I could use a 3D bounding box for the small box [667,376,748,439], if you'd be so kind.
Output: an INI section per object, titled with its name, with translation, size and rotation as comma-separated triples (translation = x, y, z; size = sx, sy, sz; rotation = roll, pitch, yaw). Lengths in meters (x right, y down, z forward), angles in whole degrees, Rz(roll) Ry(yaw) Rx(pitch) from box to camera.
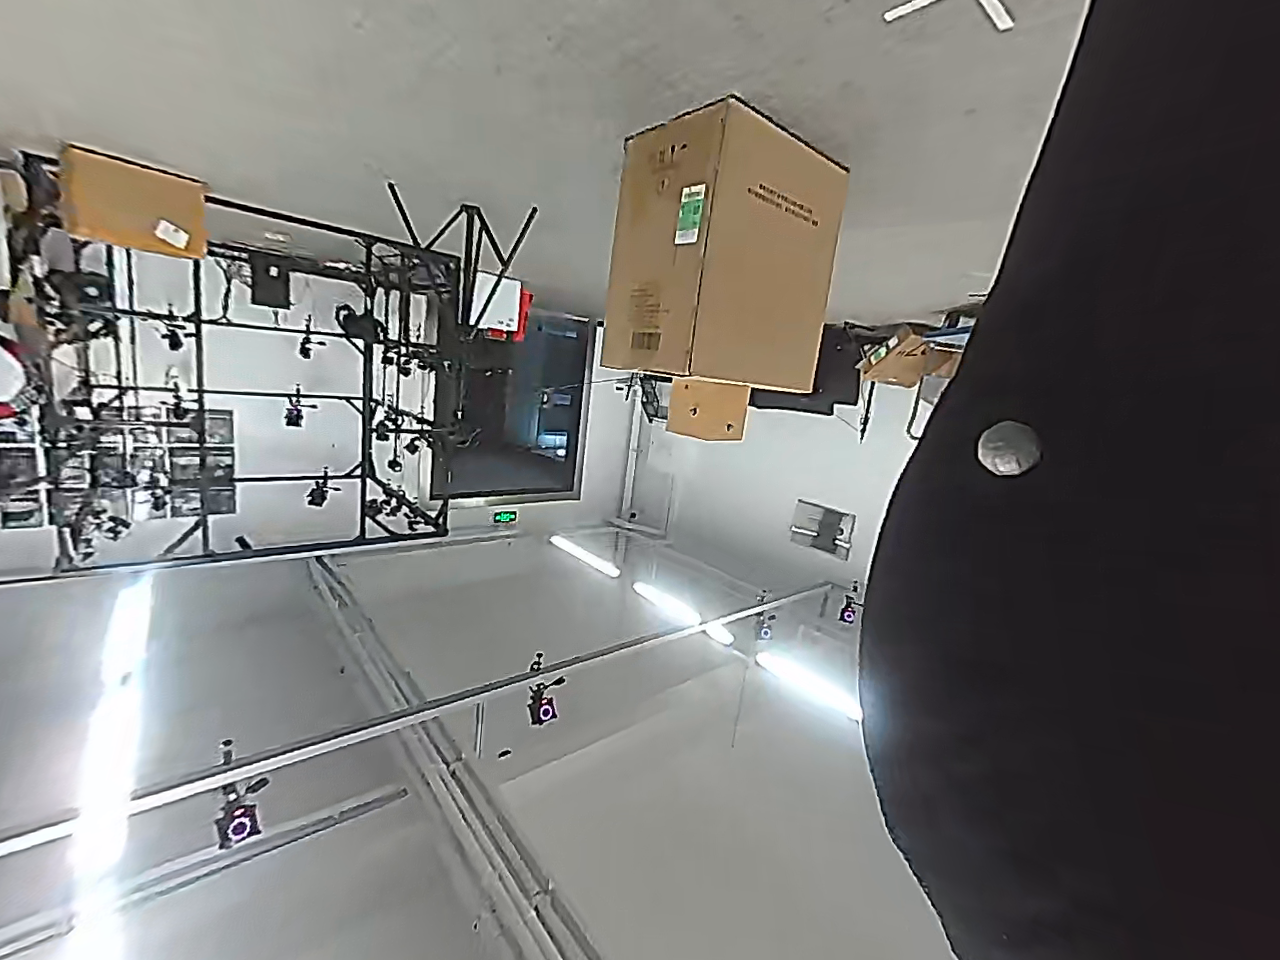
[small box]
translation = 0.202, -0.217, 1.613
size = 0.179, 0.176, 0.168
rotation = -5, -164, -43
